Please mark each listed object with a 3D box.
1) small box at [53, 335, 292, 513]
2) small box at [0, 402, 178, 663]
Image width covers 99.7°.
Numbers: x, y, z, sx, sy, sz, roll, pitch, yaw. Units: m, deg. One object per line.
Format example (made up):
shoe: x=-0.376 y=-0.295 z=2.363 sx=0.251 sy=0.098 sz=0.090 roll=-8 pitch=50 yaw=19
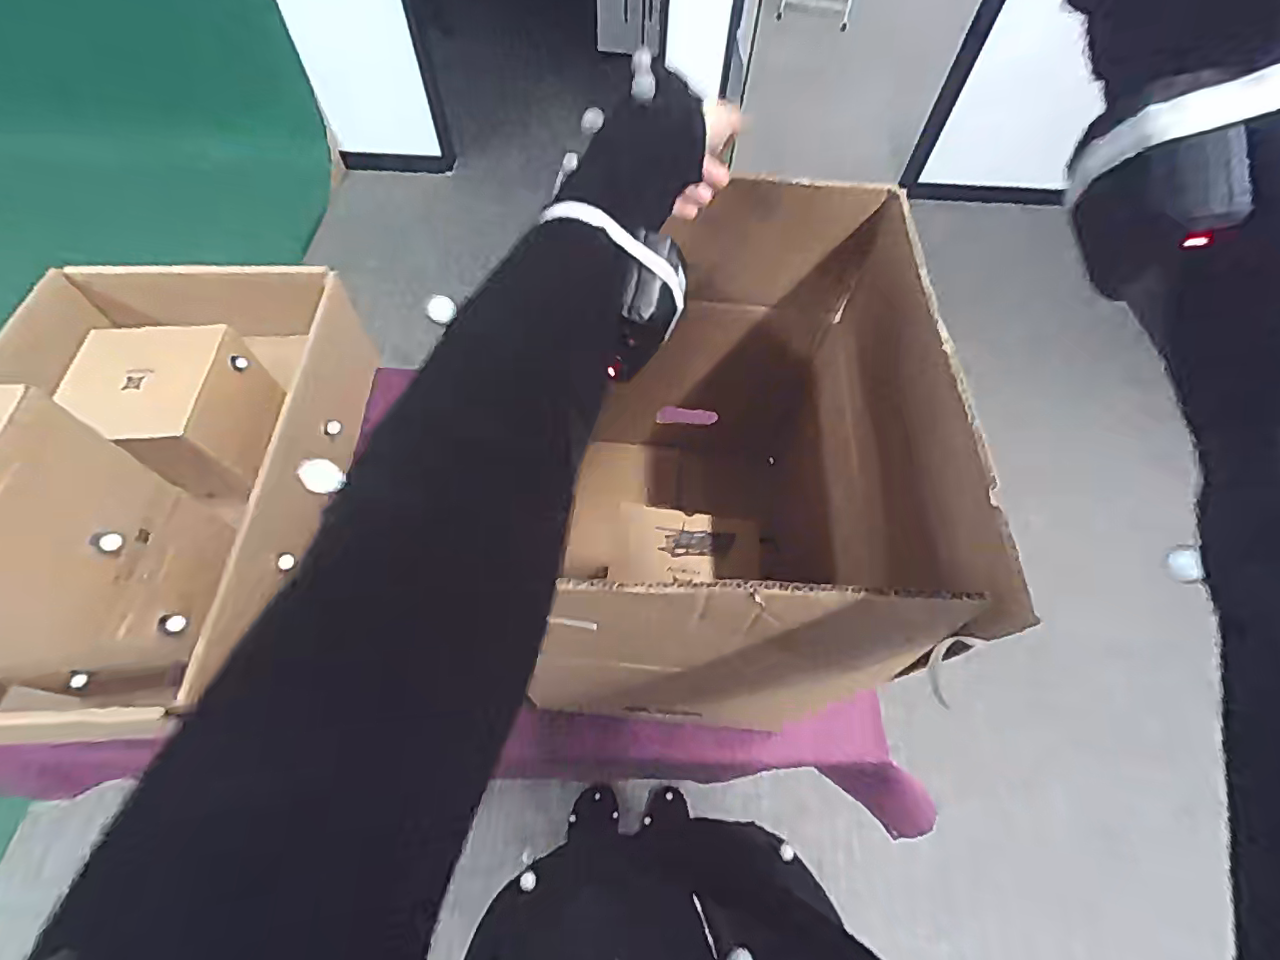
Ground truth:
small box: x=-0.600 y=-0.065 z=0.714 sx=0.168 sy=0.176 sz=0.179 roll=-4 pitch=59 yaw=-3
small box: x=-0.557 y=0.052 z=0.450 sx=0.179 sy=0.176 sz=0.168 roll=-1 pitch=59 yaw=-2
